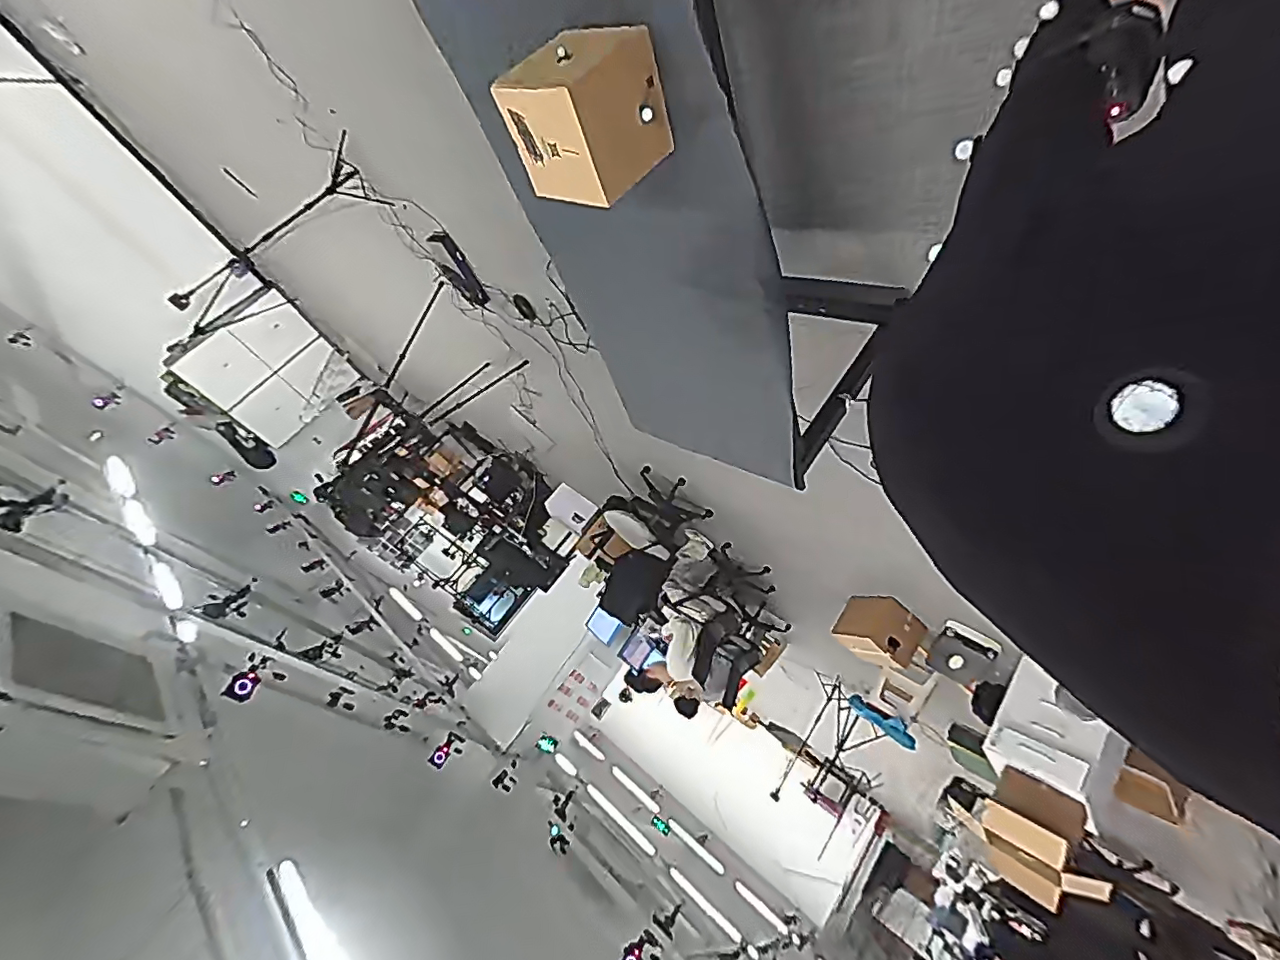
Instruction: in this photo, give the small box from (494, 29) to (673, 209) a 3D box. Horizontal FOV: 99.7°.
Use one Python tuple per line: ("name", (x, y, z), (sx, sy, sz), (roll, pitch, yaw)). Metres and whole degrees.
("small box", (-0.078, -0.547, 0.820), (0.179, 0.176, 0.168), (29, 160, 33))
